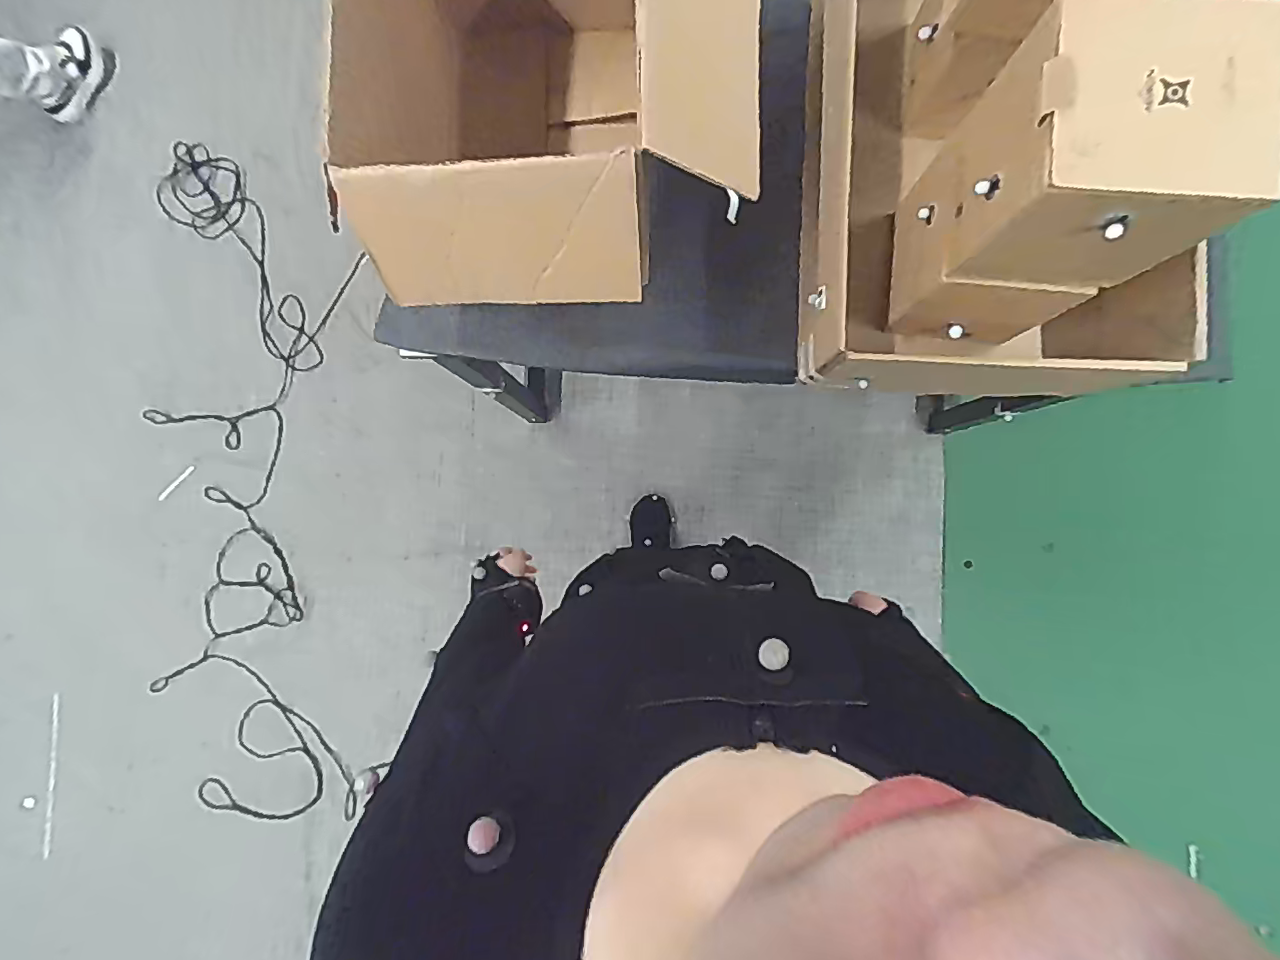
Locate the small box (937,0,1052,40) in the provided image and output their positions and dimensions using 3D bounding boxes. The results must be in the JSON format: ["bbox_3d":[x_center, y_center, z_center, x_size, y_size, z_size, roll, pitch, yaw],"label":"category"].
[{"bbox_3d":[0.422,-0.572,0.526,0.179,0.176,0.168,9,89,2],"label":"small box"}]

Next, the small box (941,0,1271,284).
[{"bbox_3d":[0.415,-0.302,0.514,0.179,0.176,0.168,5,88,3],"label":"small box"}]
